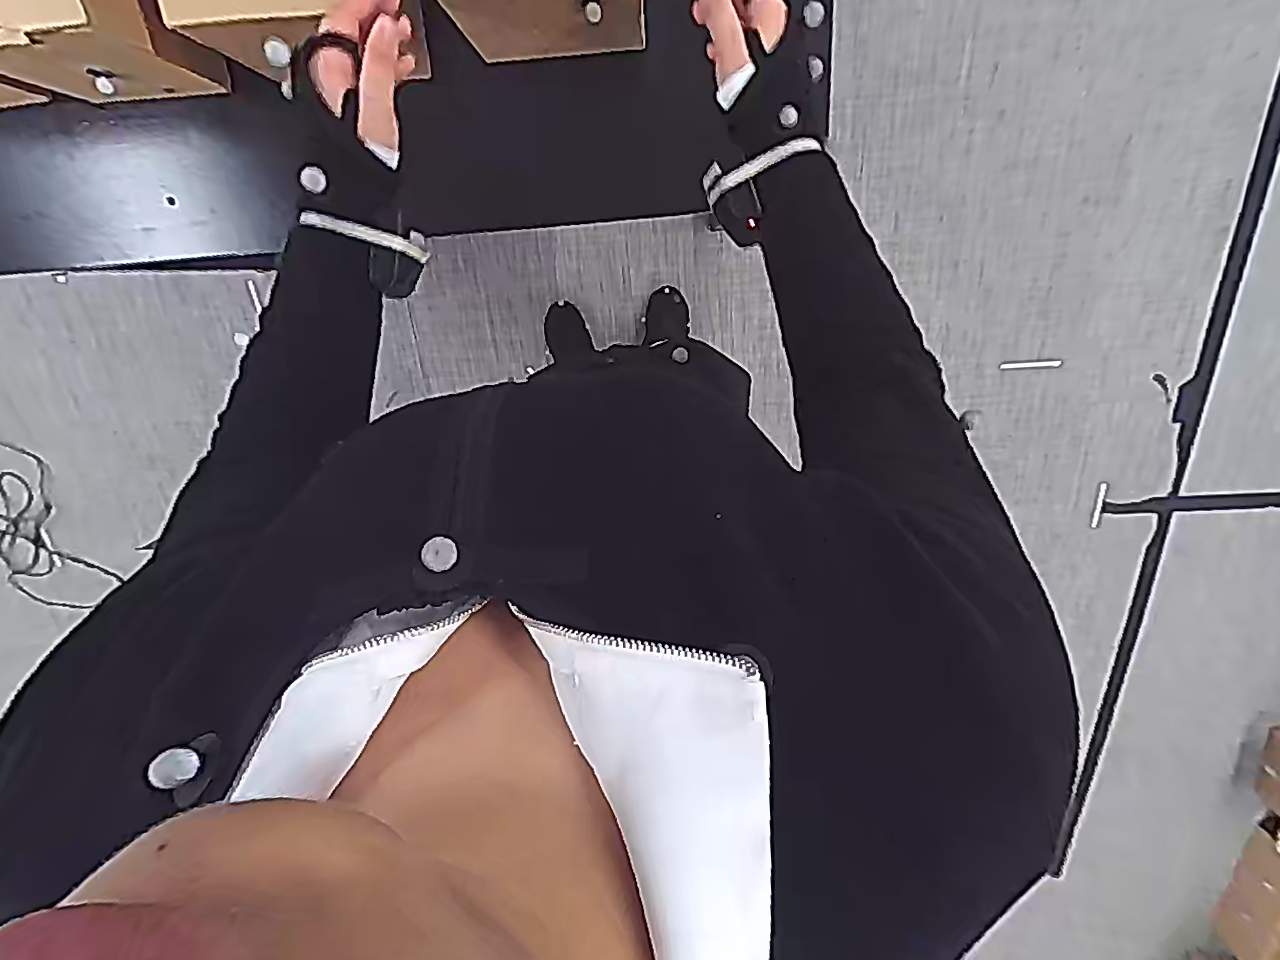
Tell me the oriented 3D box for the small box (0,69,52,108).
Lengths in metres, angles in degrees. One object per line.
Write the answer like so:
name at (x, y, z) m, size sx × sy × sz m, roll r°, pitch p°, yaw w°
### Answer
small box at (-0.754, -0.470, 0.515) m, size 0.179 × 0.176 × 0.168 m, roll -6°, pitch 111°, yaw 2°

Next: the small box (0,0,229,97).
small box at (-0.539, -0.483, 0.507) m, size 0.168 × 0.176 × 0.179 m, roll -2°, pitch 111°, yaw 3°
